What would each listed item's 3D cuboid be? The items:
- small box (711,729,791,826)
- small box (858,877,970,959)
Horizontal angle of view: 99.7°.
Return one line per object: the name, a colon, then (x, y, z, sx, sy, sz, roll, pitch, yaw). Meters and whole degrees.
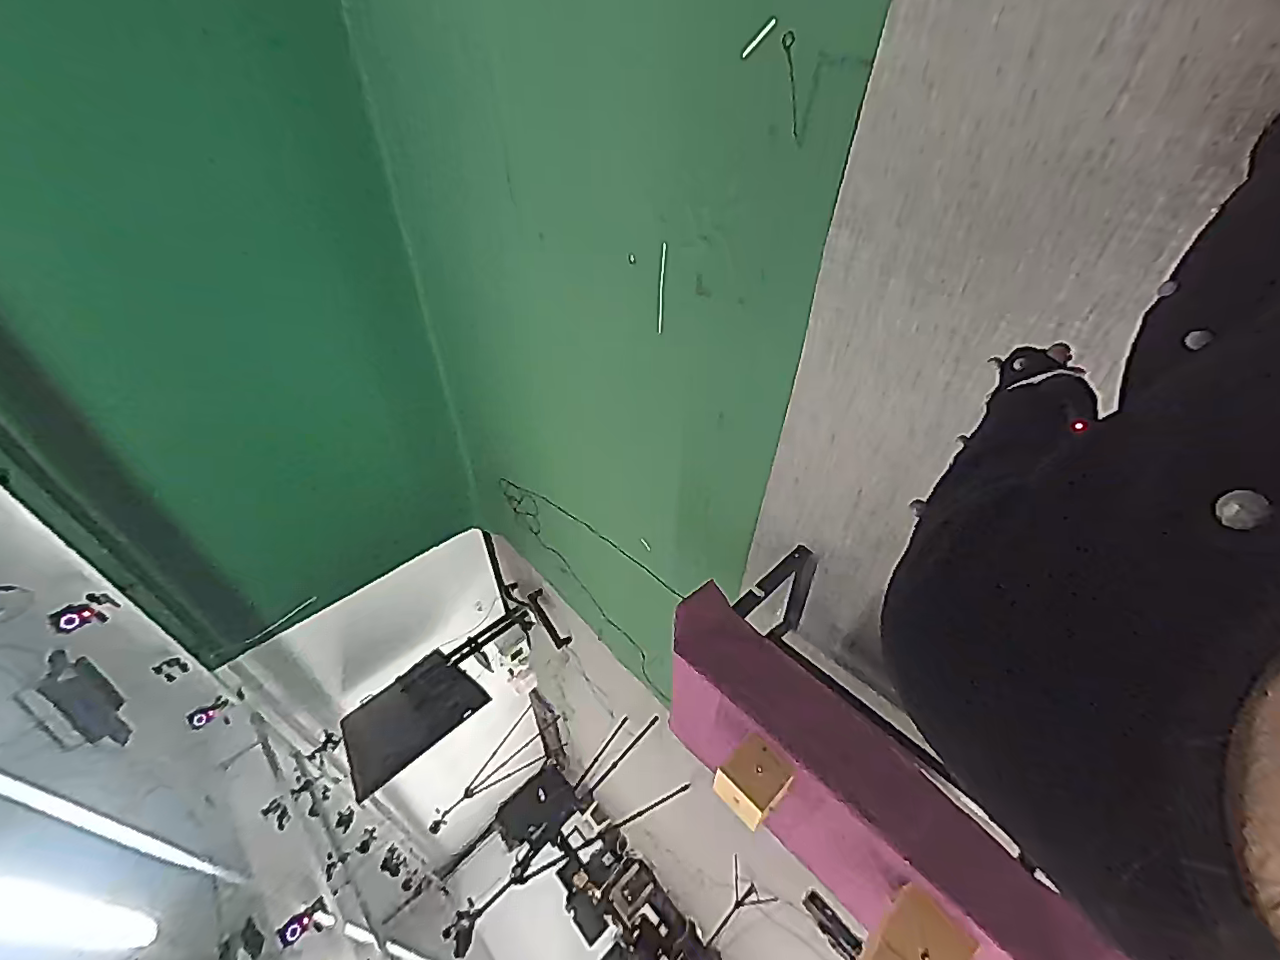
small box: (0.340, 0.905, 1.655, 0.168, 0.176, 0.179, 37, 144, 33)
small box: (0.695, 1.167, 1.374, 0.179, 0.176, 0.168, 37, 144, 33)
